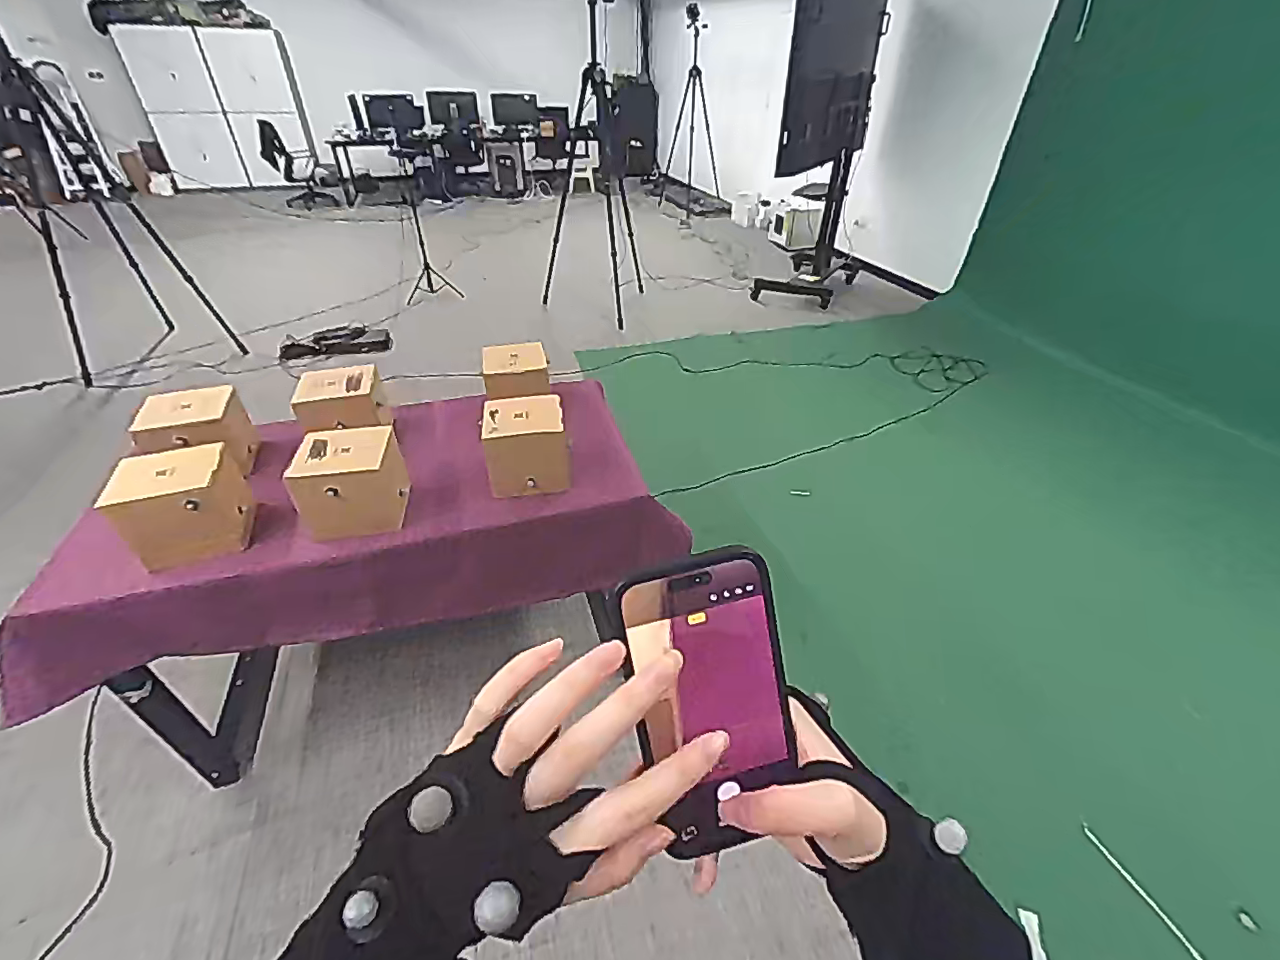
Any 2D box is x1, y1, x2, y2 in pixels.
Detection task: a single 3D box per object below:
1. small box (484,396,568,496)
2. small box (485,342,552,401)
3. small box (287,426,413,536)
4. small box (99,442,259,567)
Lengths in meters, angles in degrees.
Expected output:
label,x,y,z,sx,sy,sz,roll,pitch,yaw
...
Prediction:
label,x,y,z,sx,sy,sz,roll,pitch,yaw
small box,-0.260,-0.079,1.262,0.179,0.176,0.168,-5,37,-9
small box,-0.336,-0.265,1.503,0.168,0.176,0.179,-8,39,-11
small box,-0.603,0.004,1.148,0.179,0.176,0.168,-6,38,-10
small box,-0.906,0.050,1.084,0.179,0.176,0.168,-13,39,-19
